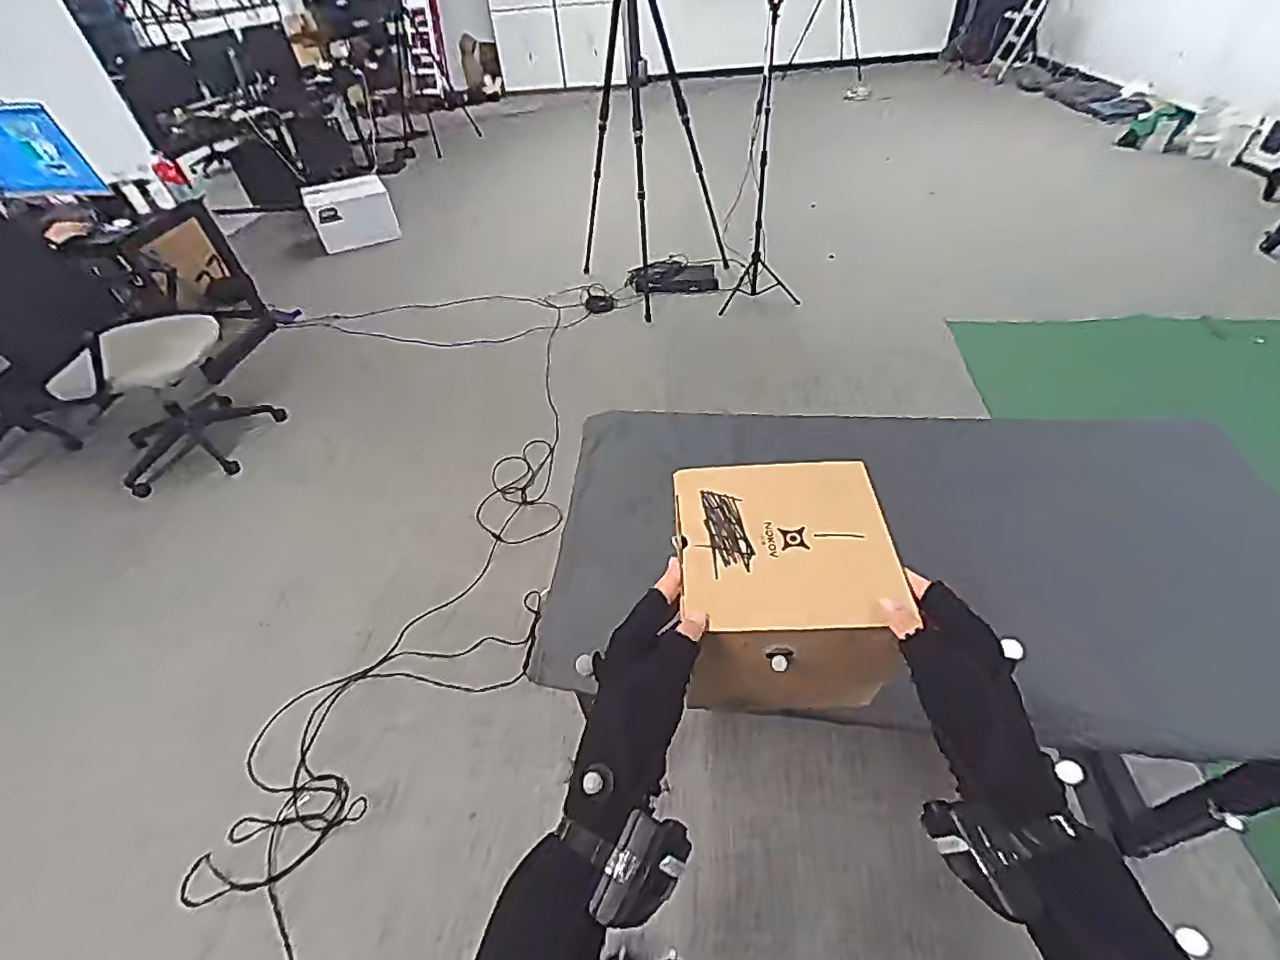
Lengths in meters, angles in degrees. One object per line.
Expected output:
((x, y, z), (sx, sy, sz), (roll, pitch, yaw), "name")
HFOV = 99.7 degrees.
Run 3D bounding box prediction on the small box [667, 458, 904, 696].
((0.117, 0.096, 0.514), (0.179, 0.176, 0.168), (-2, 49, 3), "small box")
